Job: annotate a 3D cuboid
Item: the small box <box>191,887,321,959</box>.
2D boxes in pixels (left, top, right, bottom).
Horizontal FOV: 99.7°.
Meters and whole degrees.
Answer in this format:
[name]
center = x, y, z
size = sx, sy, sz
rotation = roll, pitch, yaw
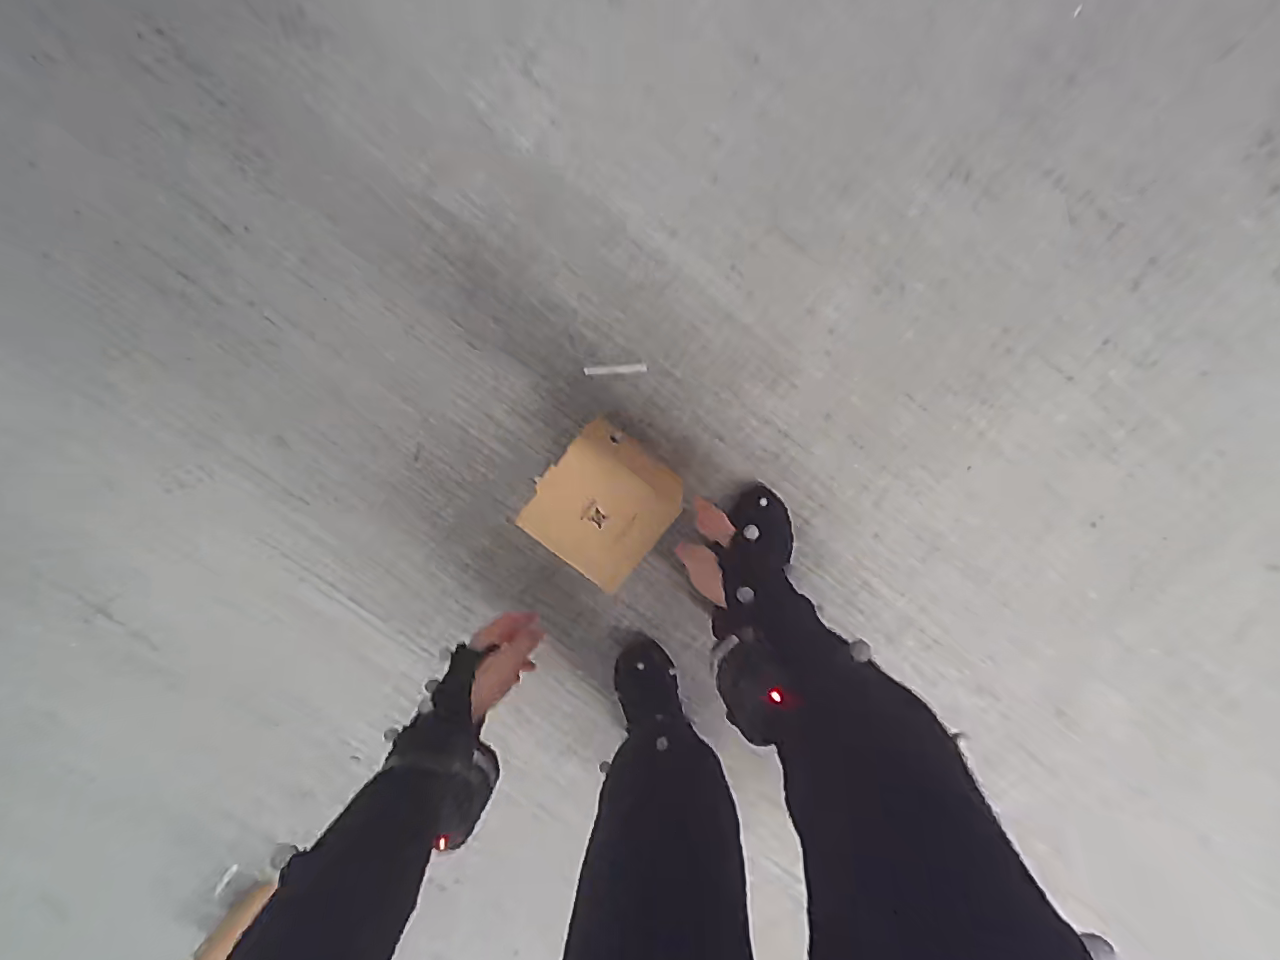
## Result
[small box]
center = -0.818, 1.010, 1.127
size = 0.168, 0.176, 0.179
rotation = -40, 98, 13
